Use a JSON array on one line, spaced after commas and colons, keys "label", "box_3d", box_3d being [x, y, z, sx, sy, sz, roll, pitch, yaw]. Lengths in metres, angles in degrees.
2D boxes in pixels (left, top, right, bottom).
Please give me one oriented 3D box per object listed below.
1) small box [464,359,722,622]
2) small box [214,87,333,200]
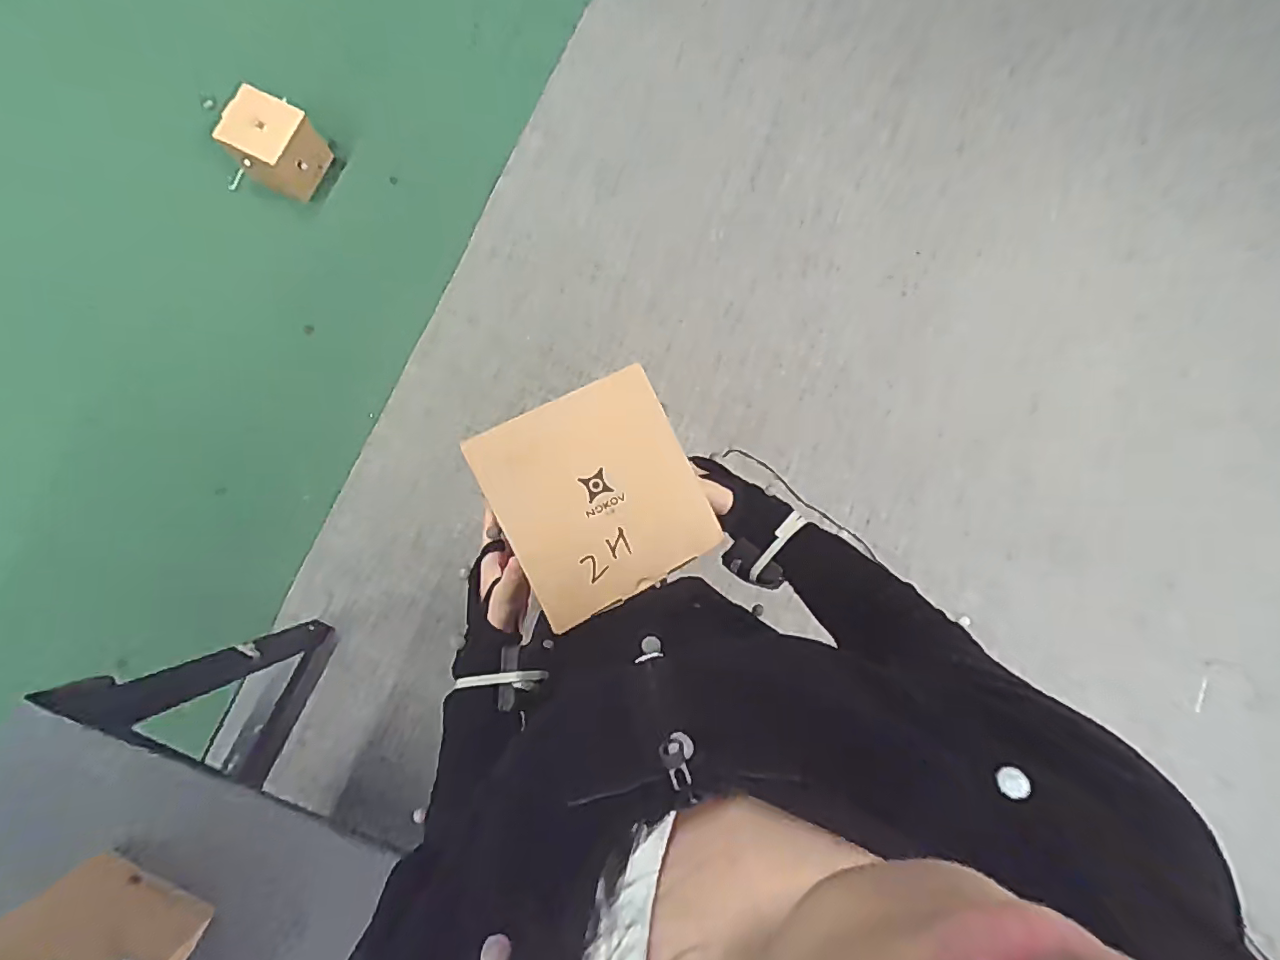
[{"label": "small box", "box_3d": [-0.051, 0.011, 0.529, 0.168, 0.176, 0.179, -27, 92, -11]}, {"label": "small box", "box_3d": [-0.976, -0.896, 1.461, 0.179, 0.176, 0.168, 25, 84, -1]}]
